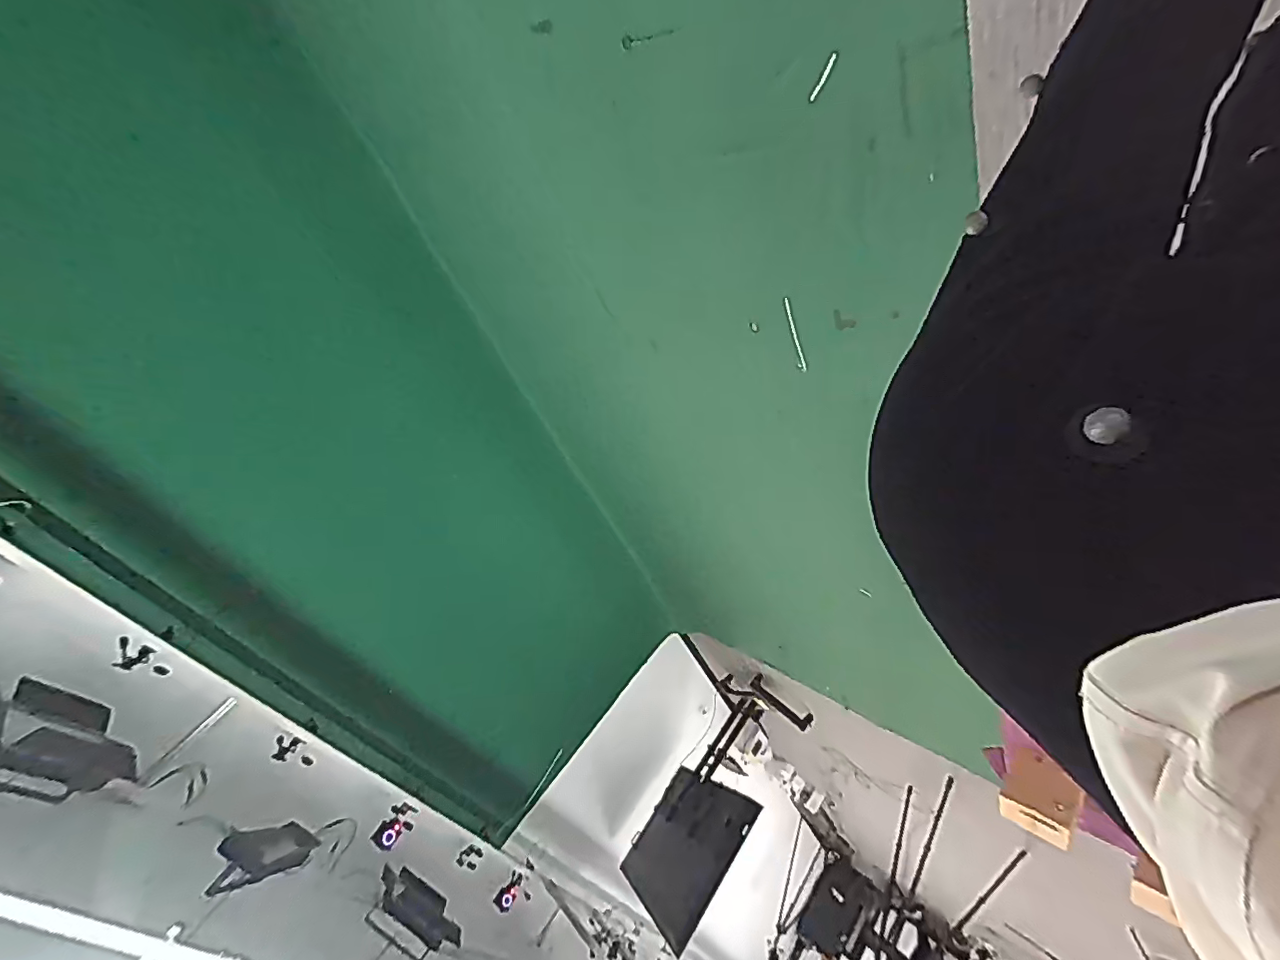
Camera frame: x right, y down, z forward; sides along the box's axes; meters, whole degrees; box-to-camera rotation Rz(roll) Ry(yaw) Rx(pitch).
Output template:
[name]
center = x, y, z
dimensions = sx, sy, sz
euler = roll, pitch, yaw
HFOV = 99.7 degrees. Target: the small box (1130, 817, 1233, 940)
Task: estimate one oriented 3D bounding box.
[small box]
center = 1.411, 1.034, 1.412
dimensions = 0.168, 0.176, 0.179
euler = 11, 140, 48
